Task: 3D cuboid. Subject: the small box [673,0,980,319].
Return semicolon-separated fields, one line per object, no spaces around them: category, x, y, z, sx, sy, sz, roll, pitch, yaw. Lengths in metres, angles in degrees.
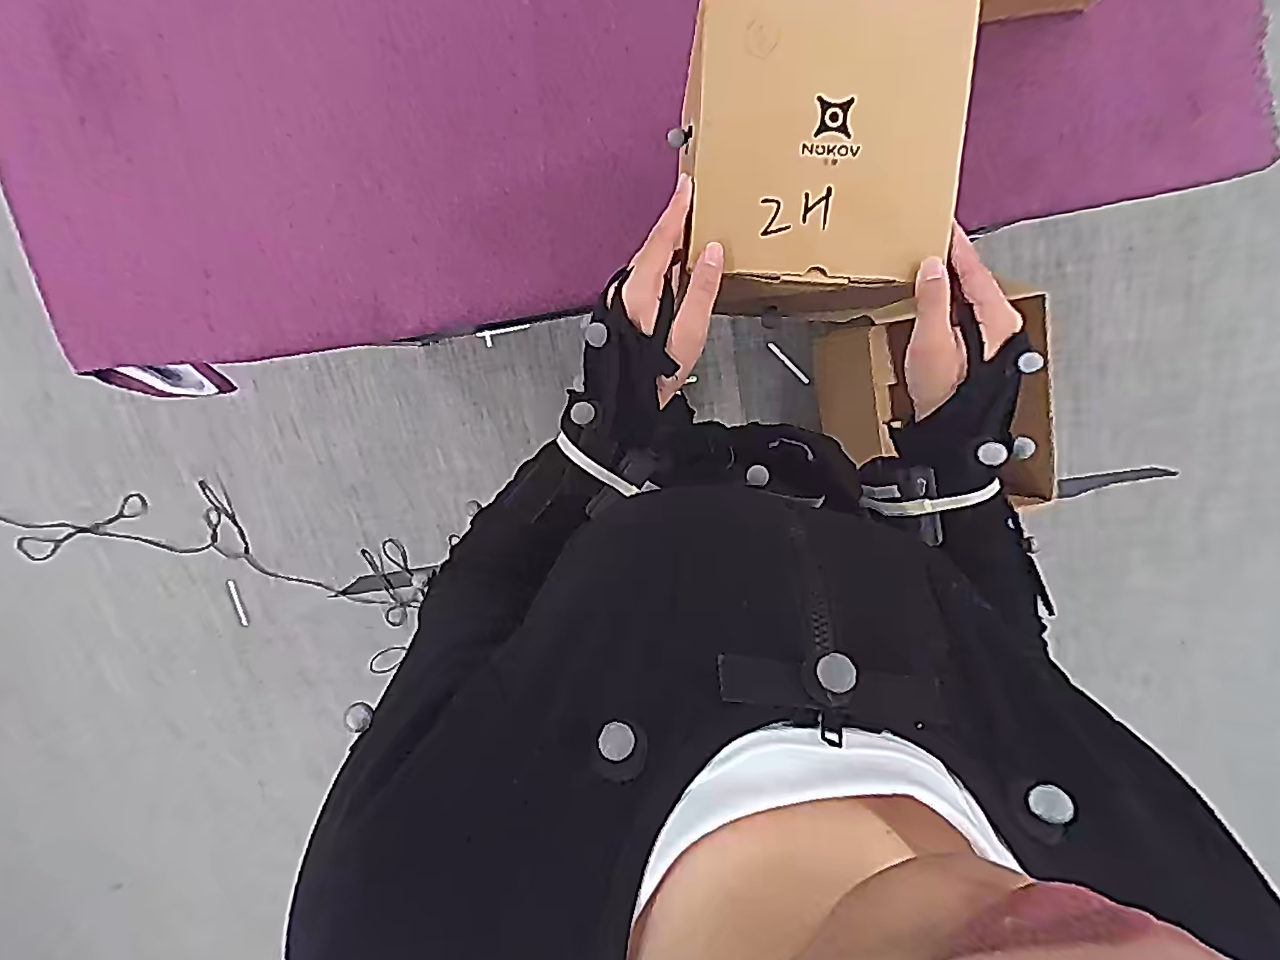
small box;0.115;-0.229;0.410;0.168;0.176;0.179;3;99;-1
